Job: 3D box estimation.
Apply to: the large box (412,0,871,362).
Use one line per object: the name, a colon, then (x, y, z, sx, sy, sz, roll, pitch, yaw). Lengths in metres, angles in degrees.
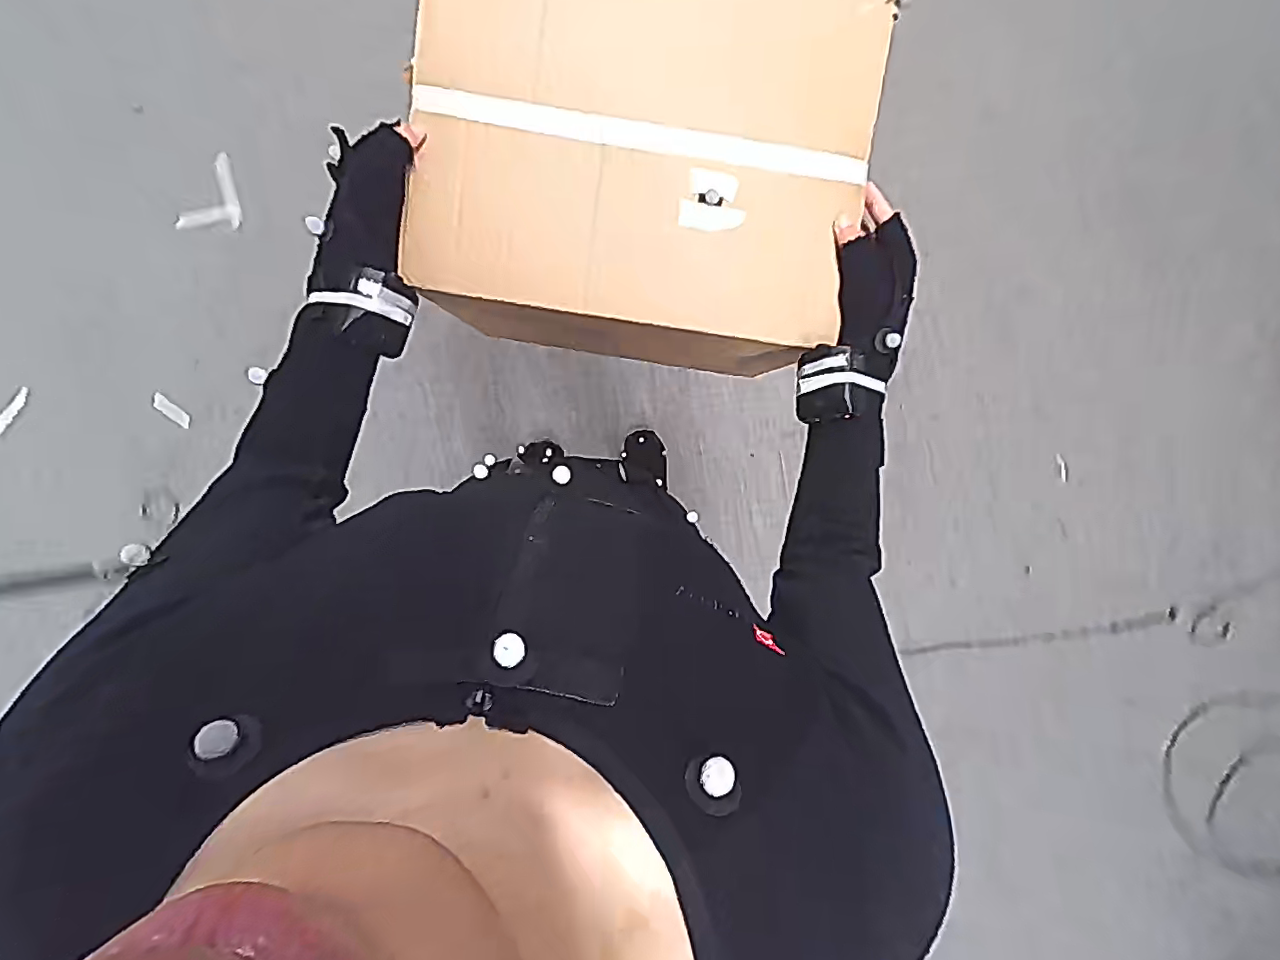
large box: (-0.010, -0.327, 0.641, 0.408, 0.320, 0.320, 6, 97, -4)
